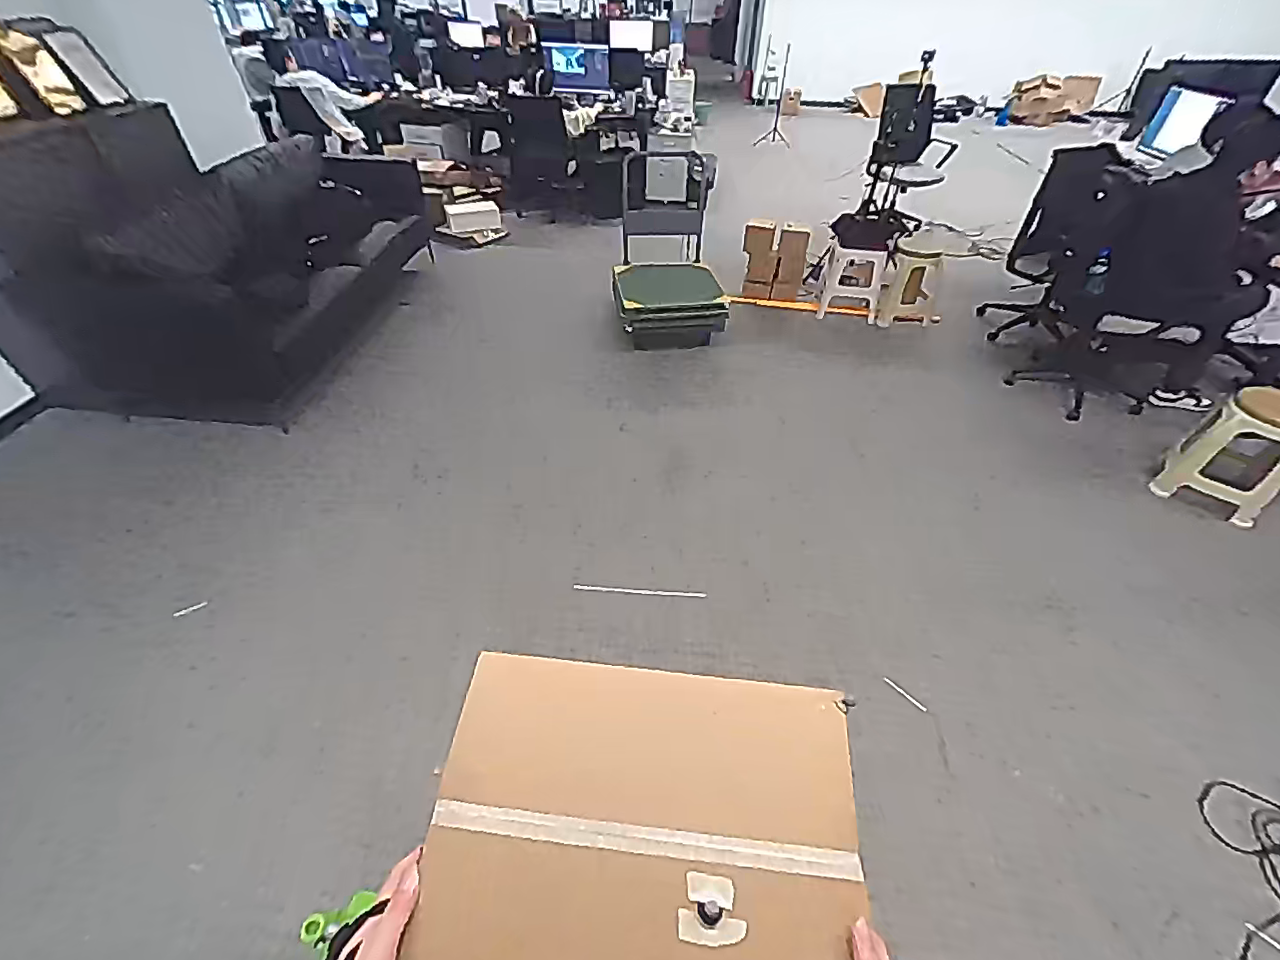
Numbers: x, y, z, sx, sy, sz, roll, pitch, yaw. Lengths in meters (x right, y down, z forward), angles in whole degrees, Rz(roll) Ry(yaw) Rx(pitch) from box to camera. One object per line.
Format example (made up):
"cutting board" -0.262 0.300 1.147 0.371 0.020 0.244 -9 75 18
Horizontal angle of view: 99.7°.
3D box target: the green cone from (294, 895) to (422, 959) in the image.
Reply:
"green cone" -0.605 0.952 1.097 0.200 0.368 0.202 8 45 7

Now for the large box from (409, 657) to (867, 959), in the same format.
"large box" 0.006 0.428 0.641 0.408 0.320 0.320 5 55 4
